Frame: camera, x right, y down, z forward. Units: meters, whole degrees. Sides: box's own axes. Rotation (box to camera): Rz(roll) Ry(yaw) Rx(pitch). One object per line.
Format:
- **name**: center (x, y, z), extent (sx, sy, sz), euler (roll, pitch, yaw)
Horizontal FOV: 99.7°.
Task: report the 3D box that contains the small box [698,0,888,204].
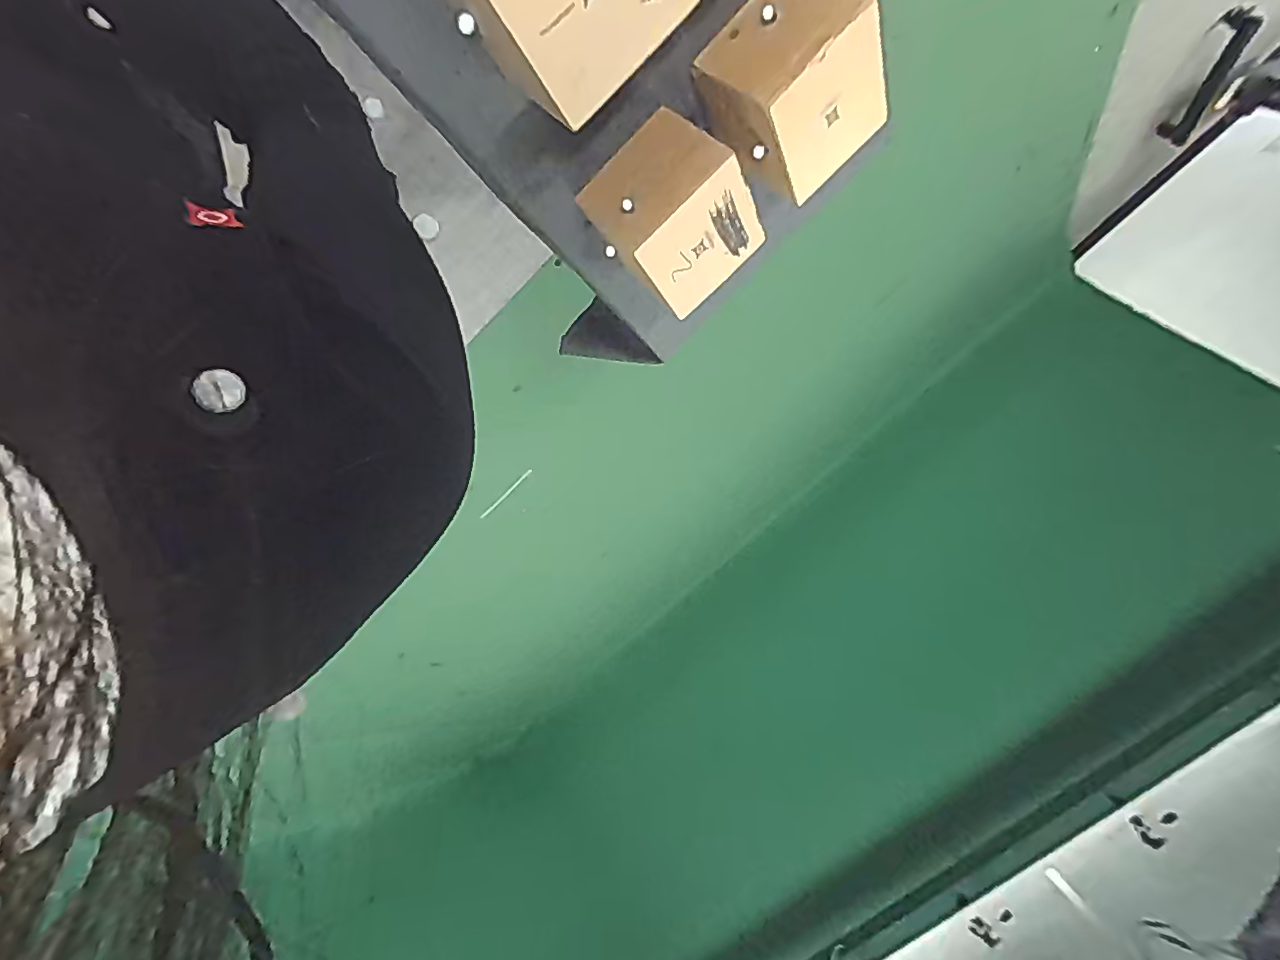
- **small box**: center (0.211, -0.534, 0.746), extent (0.168, 0.176, 0.179), euler (-43, 148, 10)
